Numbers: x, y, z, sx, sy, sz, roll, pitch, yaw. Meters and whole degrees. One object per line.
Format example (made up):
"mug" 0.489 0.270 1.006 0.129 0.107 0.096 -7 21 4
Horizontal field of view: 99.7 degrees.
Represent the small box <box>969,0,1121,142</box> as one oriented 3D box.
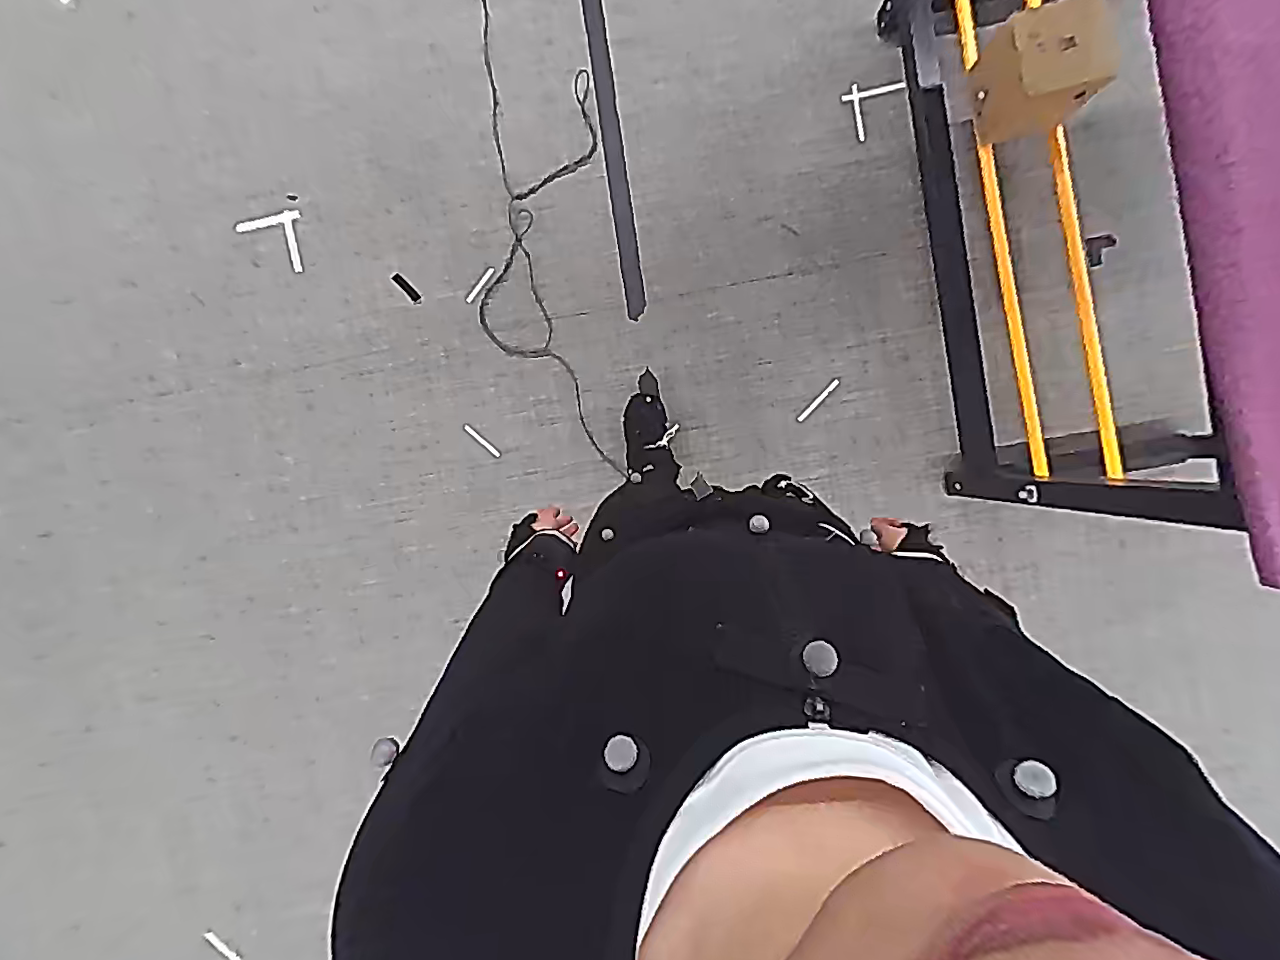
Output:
"small box" 0.817 -0.835 1.106 0.179 0.176 0.168 -13 92 5
